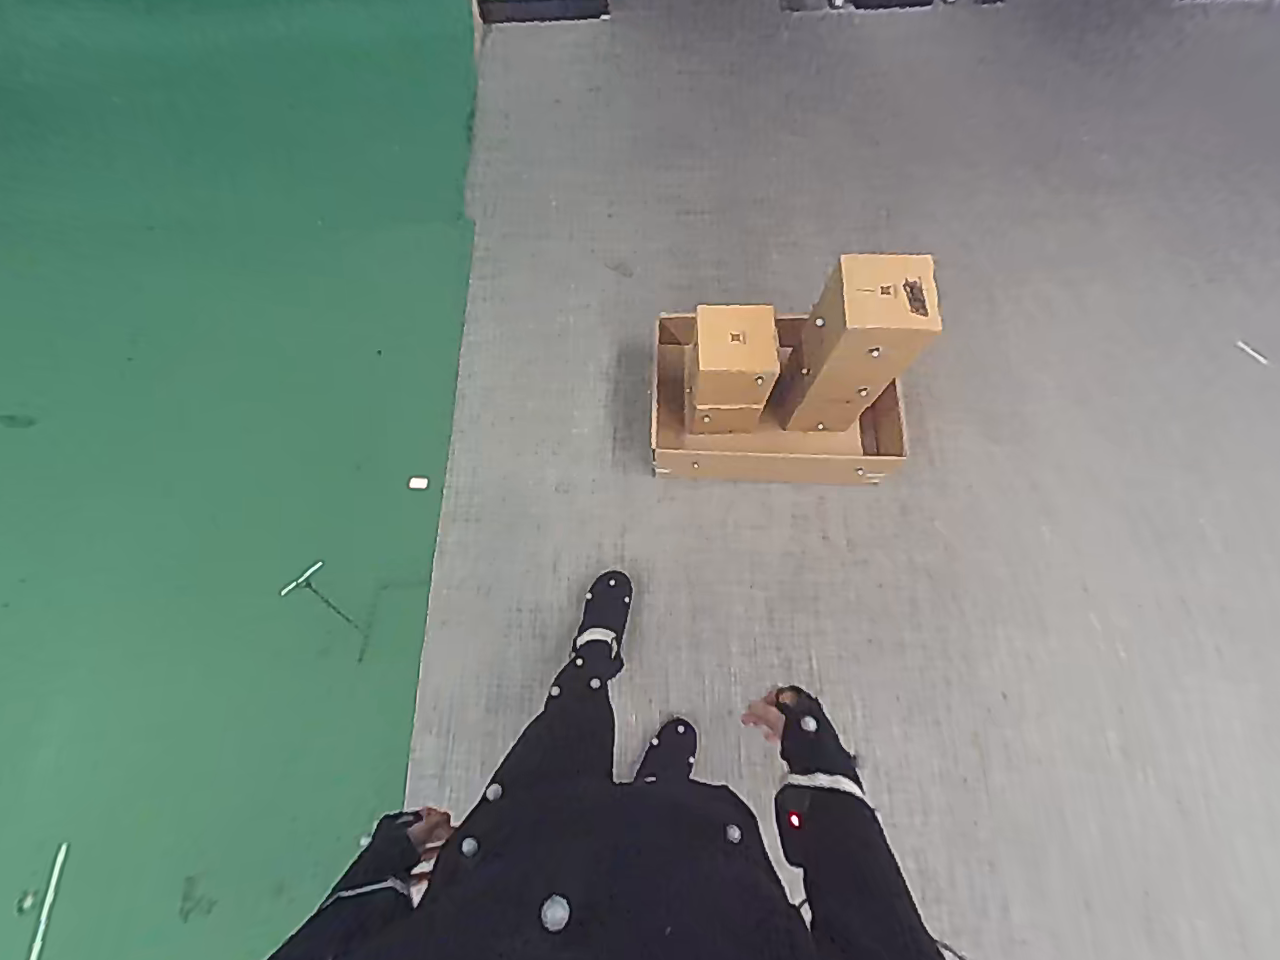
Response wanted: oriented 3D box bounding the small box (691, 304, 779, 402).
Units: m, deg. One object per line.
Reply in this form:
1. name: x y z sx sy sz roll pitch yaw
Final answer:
1. small box: 0.211 -0.289 1.257 0.179 0.176 0.168 0 72 -1

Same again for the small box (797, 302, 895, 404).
1. small box: 0.467 -0.287 1.248 0.168 0.176 0.179 2 72 2

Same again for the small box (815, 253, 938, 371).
1. small box: 0.467 -0.331 1.091 0.179 0.176 0.168 2 73 3
